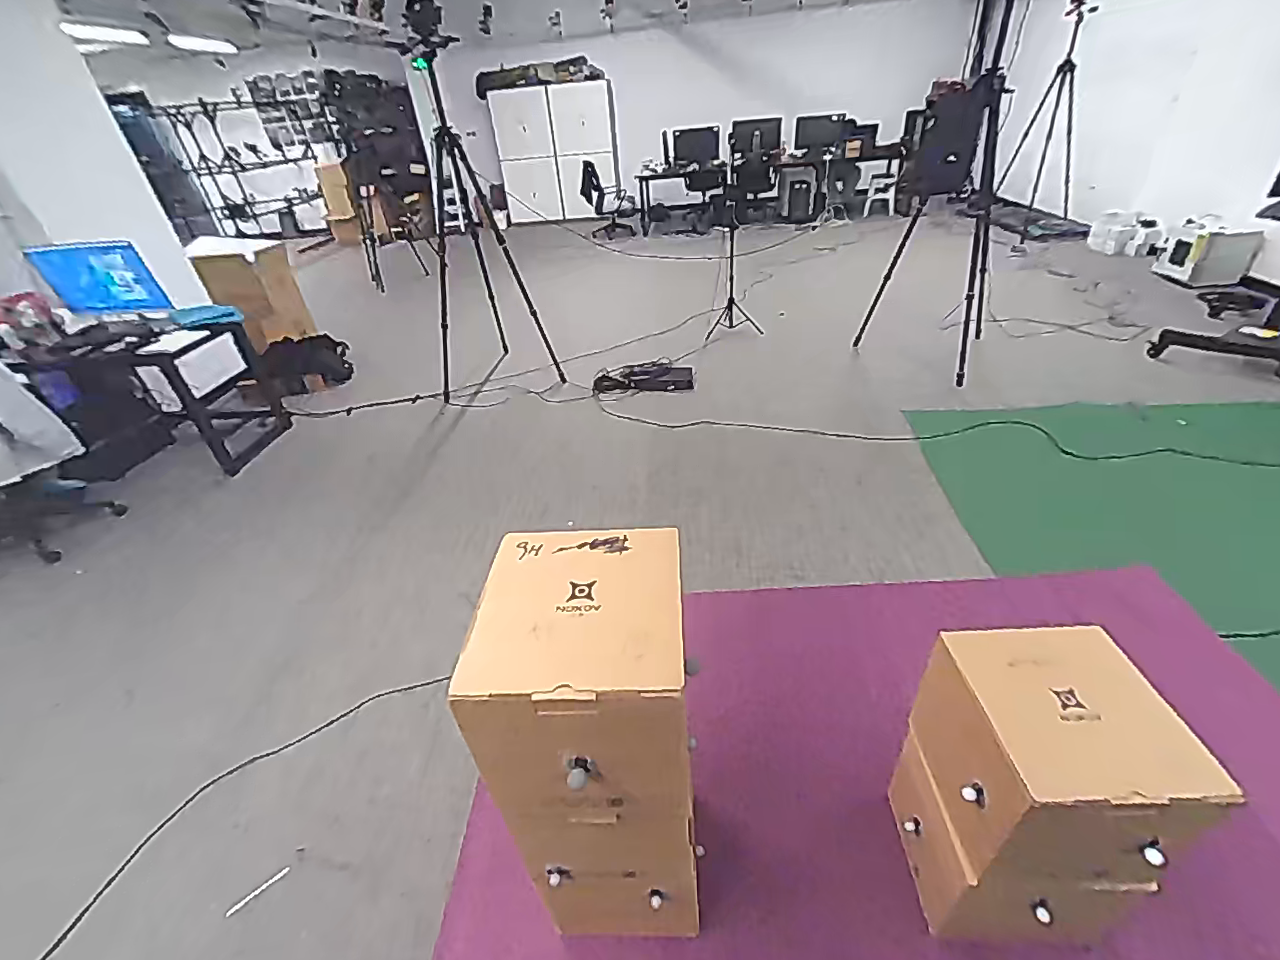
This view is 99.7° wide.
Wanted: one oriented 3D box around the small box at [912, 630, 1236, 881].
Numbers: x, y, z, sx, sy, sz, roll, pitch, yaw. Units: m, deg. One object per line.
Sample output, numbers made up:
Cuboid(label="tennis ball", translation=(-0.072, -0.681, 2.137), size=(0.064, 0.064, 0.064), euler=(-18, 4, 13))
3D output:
Cuboid(label="small box", translation=(0.402, 0.277, 0.547), size=(0.168, 0.176, 0.179), euler=(-2, 34, 3))

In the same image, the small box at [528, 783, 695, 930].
Cuboid(label="small box", translation=(-0.024, 0.431, 0.673), size=(0.179, 0.176, 0.168), euler=(-2, 35, 4))

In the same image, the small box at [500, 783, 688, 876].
Cuboid(label="small box", translation=(-0.035, 0.296, 0.581), size=(0.168, 0.176, 0.179), euler=(-2, 33, 3))

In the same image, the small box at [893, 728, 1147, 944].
Cuboid(label="small box", translation=(0.414, 0.414, 0.635), size=(0.179, 0.176, 0.168), euler=(-2, 36, 6))

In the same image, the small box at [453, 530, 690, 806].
Cuboid(label="small box", translation=(-0.041, 0.165, 0.481), size=(0.168, 0.176, 0.179), euler=(-1, 35, 4))
